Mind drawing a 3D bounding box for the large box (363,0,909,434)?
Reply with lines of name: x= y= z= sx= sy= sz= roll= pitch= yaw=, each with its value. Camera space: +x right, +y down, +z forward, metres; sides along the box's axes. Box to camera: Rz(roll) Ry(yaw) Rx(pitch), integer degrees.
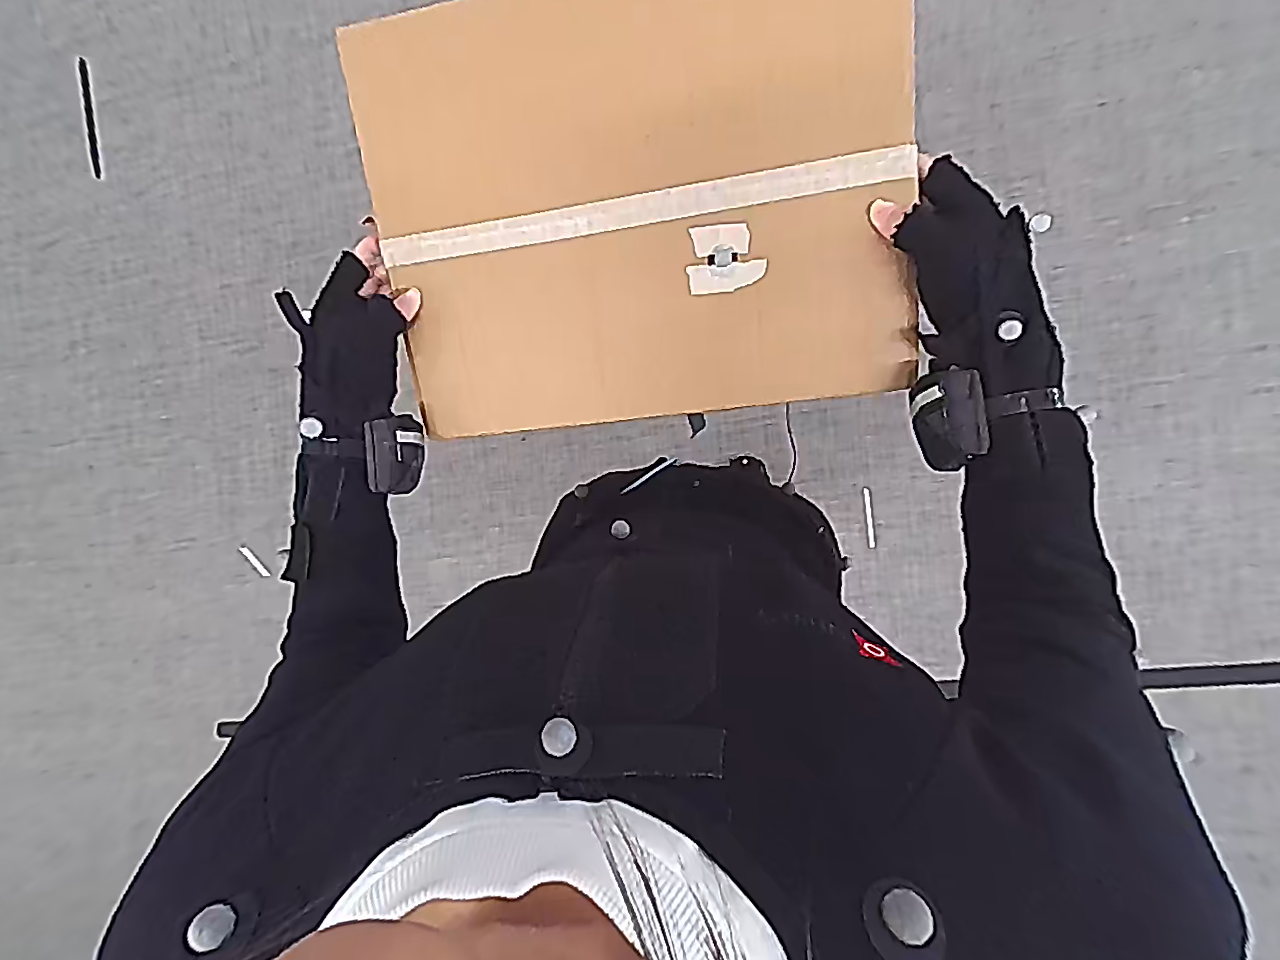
large box: x=0.014 y=-0.245 z=0.566 sx=0.408 sy=0.320 sz=0.320 roll=-6 pitch=104 yaw=9
